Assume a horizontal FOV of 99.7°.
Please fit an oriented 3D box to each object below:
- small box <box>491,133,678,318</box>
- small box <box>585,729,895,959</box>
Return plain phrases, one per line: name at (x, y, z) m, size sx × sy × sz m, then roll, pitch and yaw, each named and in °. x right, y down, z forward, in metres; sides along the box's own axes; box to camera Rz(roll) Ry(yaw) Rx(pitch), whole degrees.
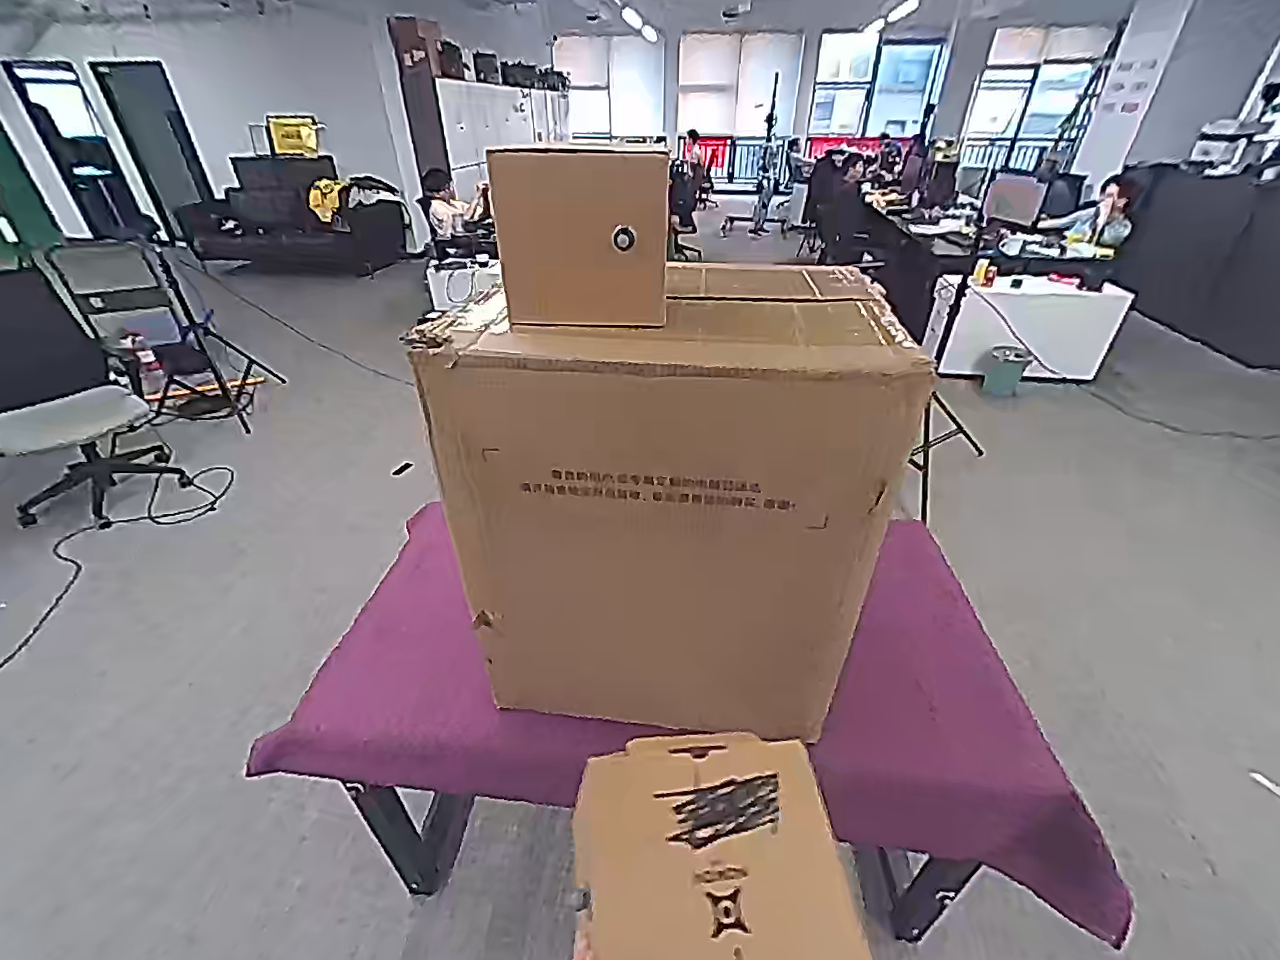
small box at (-0.050, -0.287, 0.610) m, size 0.179 × 0.176 × 0.168 m, roll 0°, pitch 33°, yaw 1°
small box at (0.051, 0.304, 0.387) m, size 0.168 × 0.176 × 0.179 m, roll 1°, pitch 45°, yaw -11°
